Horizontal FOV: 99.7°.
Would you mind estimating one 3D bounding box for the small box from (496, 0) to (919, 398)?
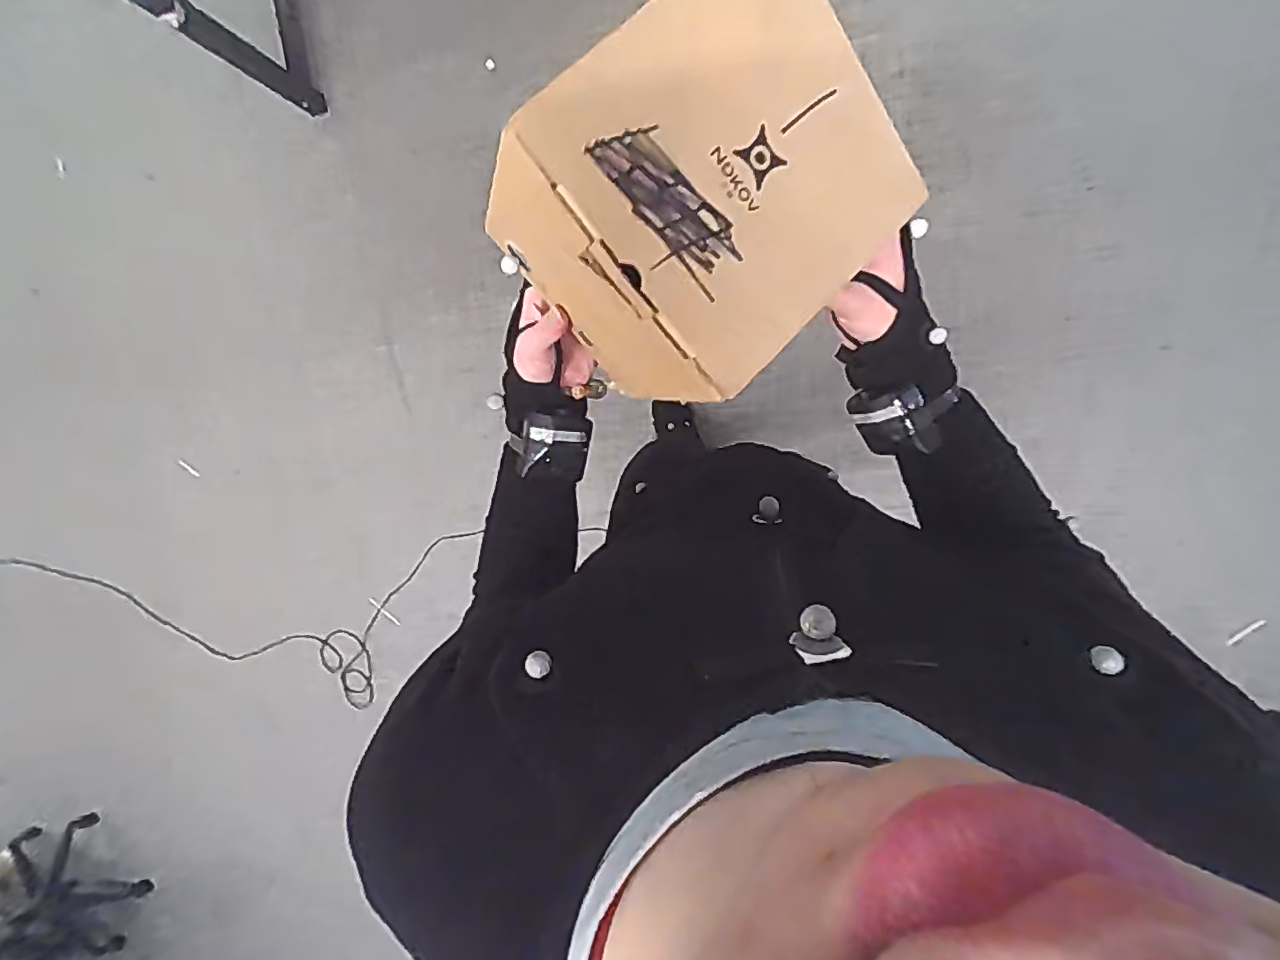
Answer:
[{"bbox_3d":[0.026,-0.170,0.352,0.179,0.176,0.168,-45,109,-7],"label":"small box"}]

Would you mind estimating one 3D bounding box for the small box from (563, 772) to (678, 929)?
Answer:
[{"bbox_3d":[-0.028,0.670,0.998,0.168,0.176,0.179,-6,98,14],"label":"small box"}]
